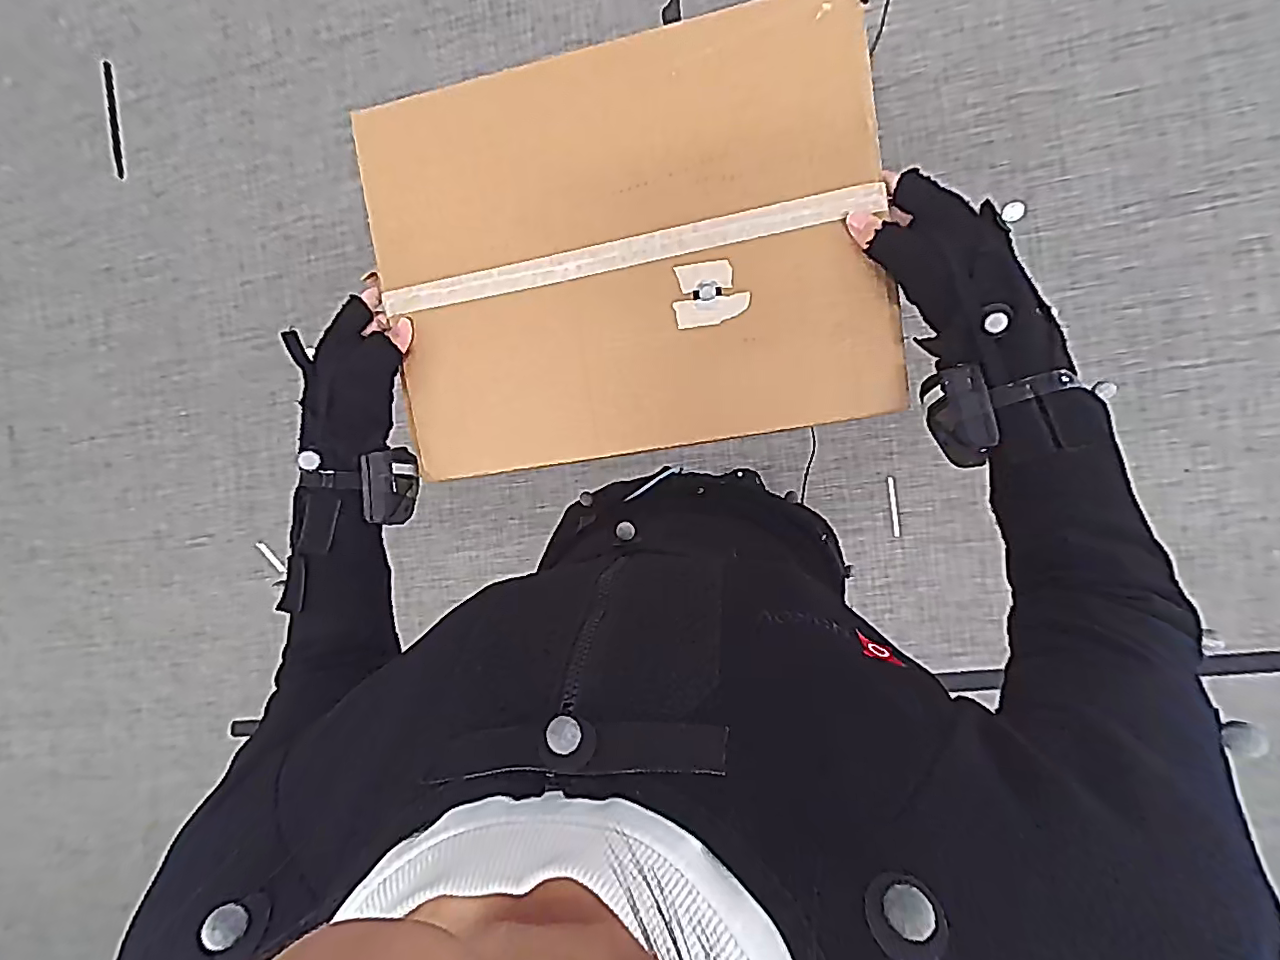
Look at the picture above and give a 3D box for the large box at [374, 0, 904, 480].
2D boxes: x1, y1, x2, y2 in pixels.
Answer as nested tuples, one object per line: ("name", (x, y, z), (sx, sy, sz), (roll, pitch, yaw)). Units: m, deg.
("large box", (0.008, -0.195, 0.588), (0.408, 0.320, 0.320), (-9, 95, 9))
